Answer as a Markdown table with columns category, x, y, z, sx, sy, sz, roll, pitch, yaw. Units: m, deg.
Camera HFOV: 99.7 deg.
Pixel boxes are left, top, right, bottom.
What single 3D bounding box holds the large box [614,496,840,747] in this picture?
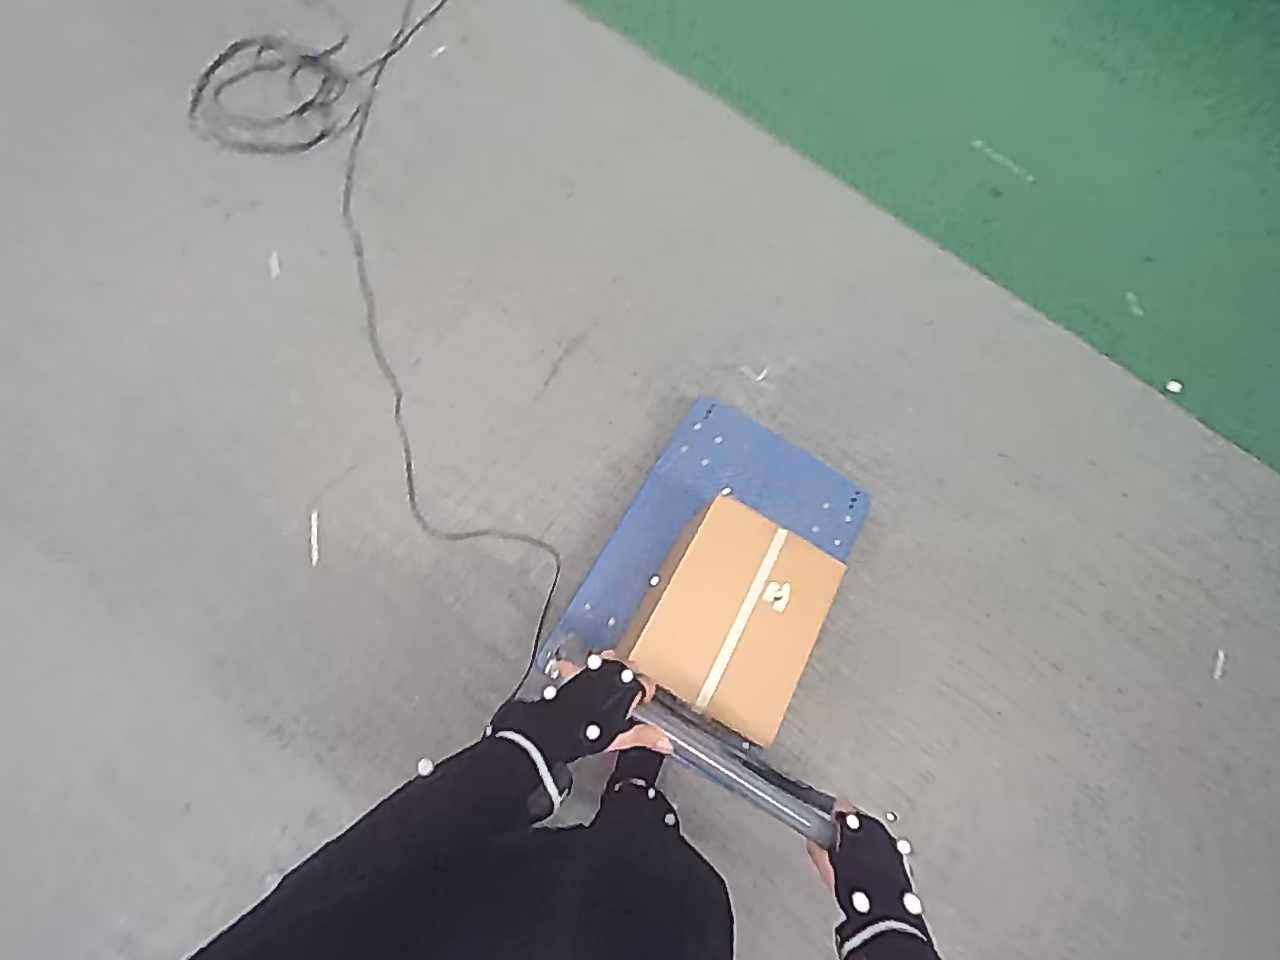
| category | x | y | z | sx | sy | sz | roll | pitch | yaw |
| --- | --- | --- | --- | --- | --- | --- | --- | --- | --- |
| large box | 0.177 | 0.316 | 1.214 | 0.320 | 0.320 | 0.408 | 31 | 69 | 1 |
